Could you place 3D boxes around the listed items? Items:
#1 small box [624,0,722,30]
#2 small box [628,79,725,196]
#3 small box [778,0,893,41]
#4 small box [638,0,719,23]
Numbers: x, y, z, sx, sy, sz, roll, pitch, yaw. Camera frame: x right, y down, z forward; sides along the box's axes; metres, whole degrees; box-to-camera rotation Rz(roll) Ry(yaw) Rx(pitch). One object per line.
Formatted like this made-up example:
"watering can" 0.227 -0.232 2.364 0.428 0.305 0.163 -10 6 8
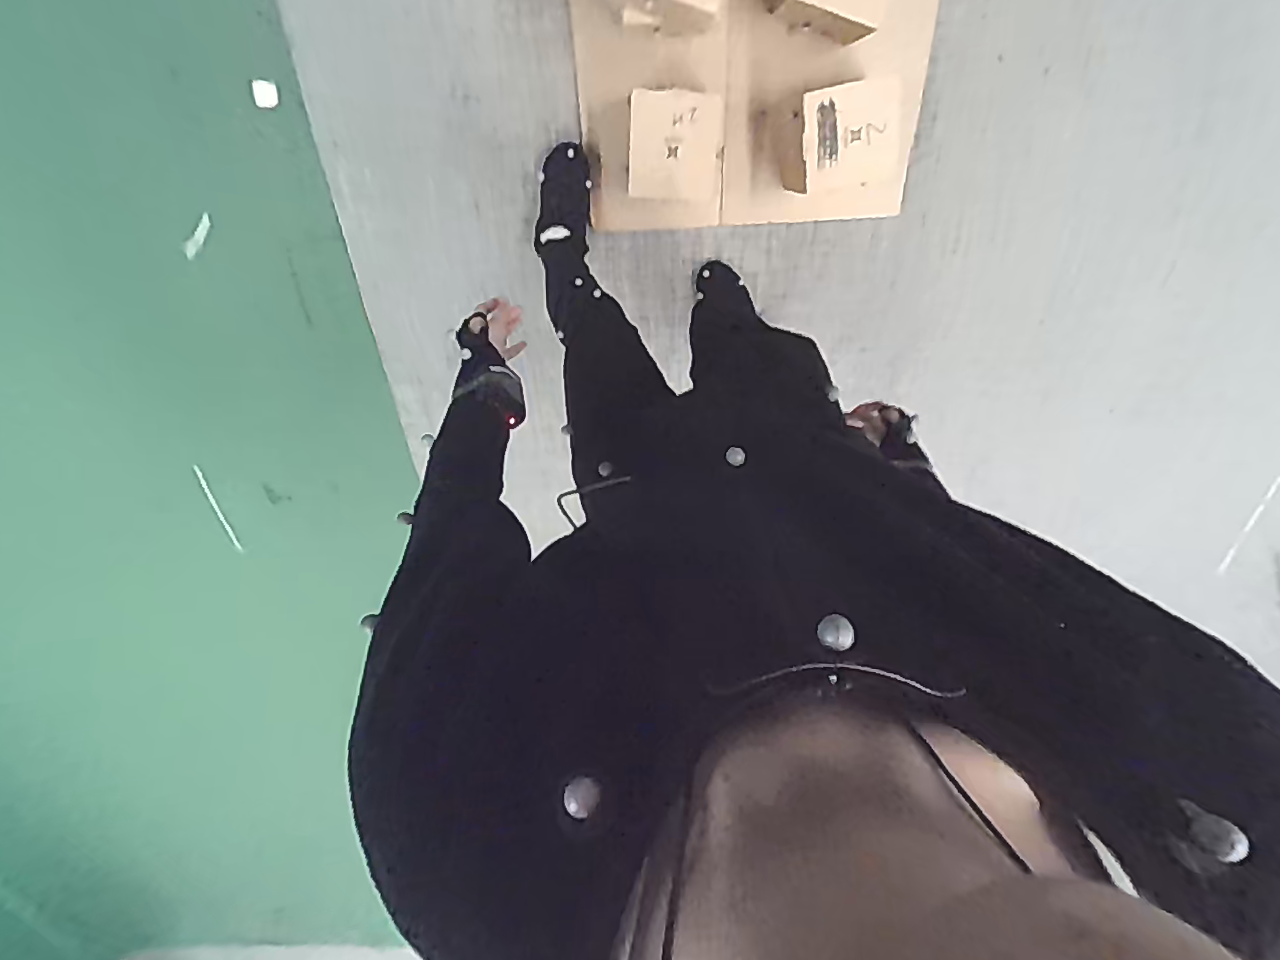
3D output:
"small box" 0.056 -0.896 0.928 0.168 0.176 0.179 -1 121 0
"small box" 0.065 -0.669 1.064 0.168 0.176 0.179 3 121 -2
"small box" 0.353 -0.895 0.921 0.168 0.176 0.179 15 118 -8
"small box" 0.055 -0.808 0.789 0.179 0.176 0.168 14 120 -9
